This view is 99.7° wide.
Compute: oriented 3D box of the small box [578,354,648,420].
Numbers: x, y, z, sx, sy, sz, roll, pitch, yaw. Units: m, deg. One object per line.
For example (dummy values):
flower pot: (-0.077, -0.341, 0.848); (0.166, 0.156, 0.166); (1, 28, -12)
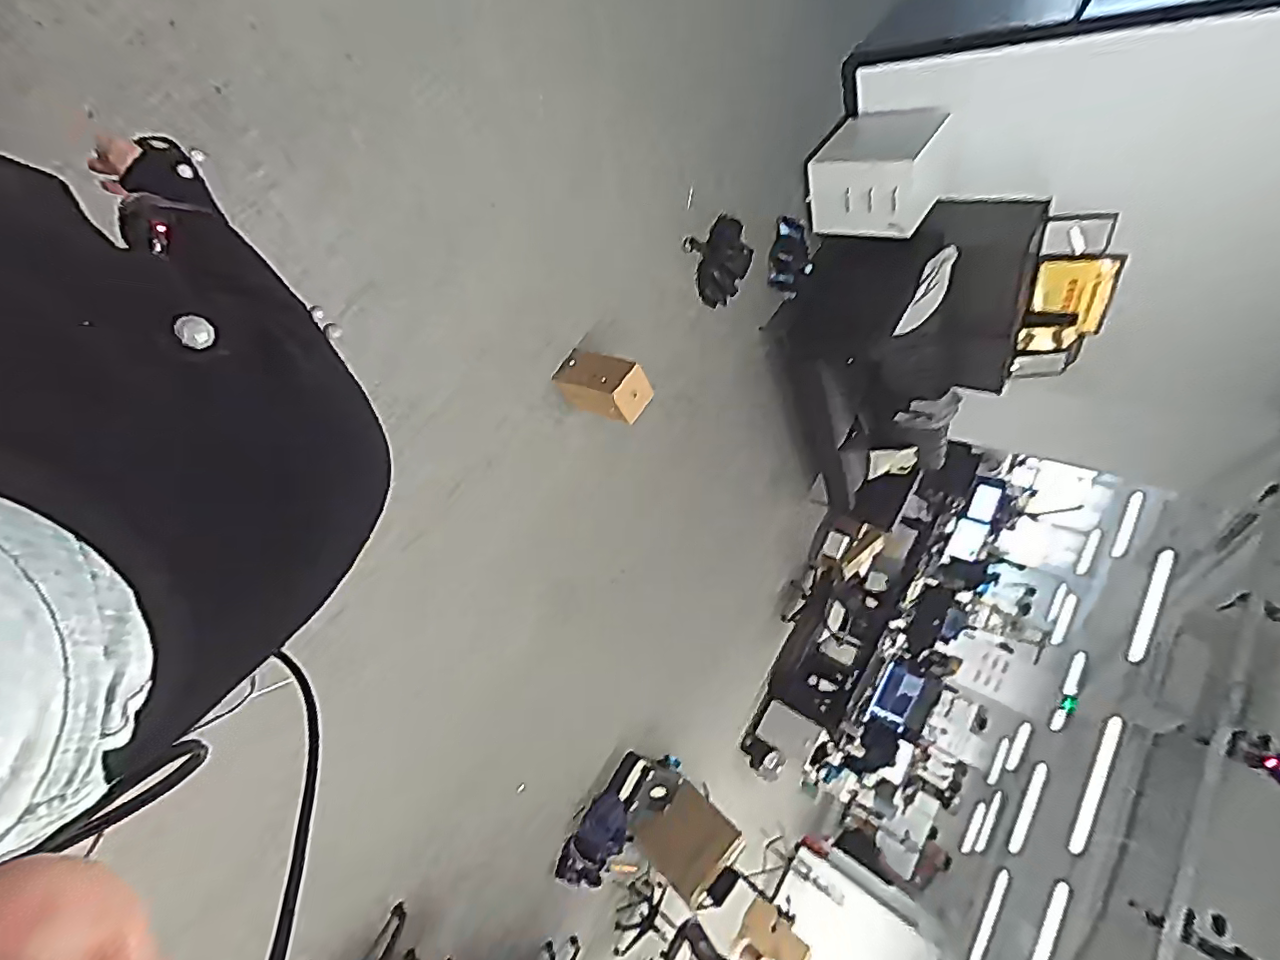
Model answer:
small box: (-0.102, -0.356, 2.036); (0.168, 0.176, 0.179); (-55, 145, -16)

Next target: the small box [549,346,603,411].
small box: (-0.224, -0.405, 2.131); (0.168, 0.176, 0.179); (-56, 143, -15)
